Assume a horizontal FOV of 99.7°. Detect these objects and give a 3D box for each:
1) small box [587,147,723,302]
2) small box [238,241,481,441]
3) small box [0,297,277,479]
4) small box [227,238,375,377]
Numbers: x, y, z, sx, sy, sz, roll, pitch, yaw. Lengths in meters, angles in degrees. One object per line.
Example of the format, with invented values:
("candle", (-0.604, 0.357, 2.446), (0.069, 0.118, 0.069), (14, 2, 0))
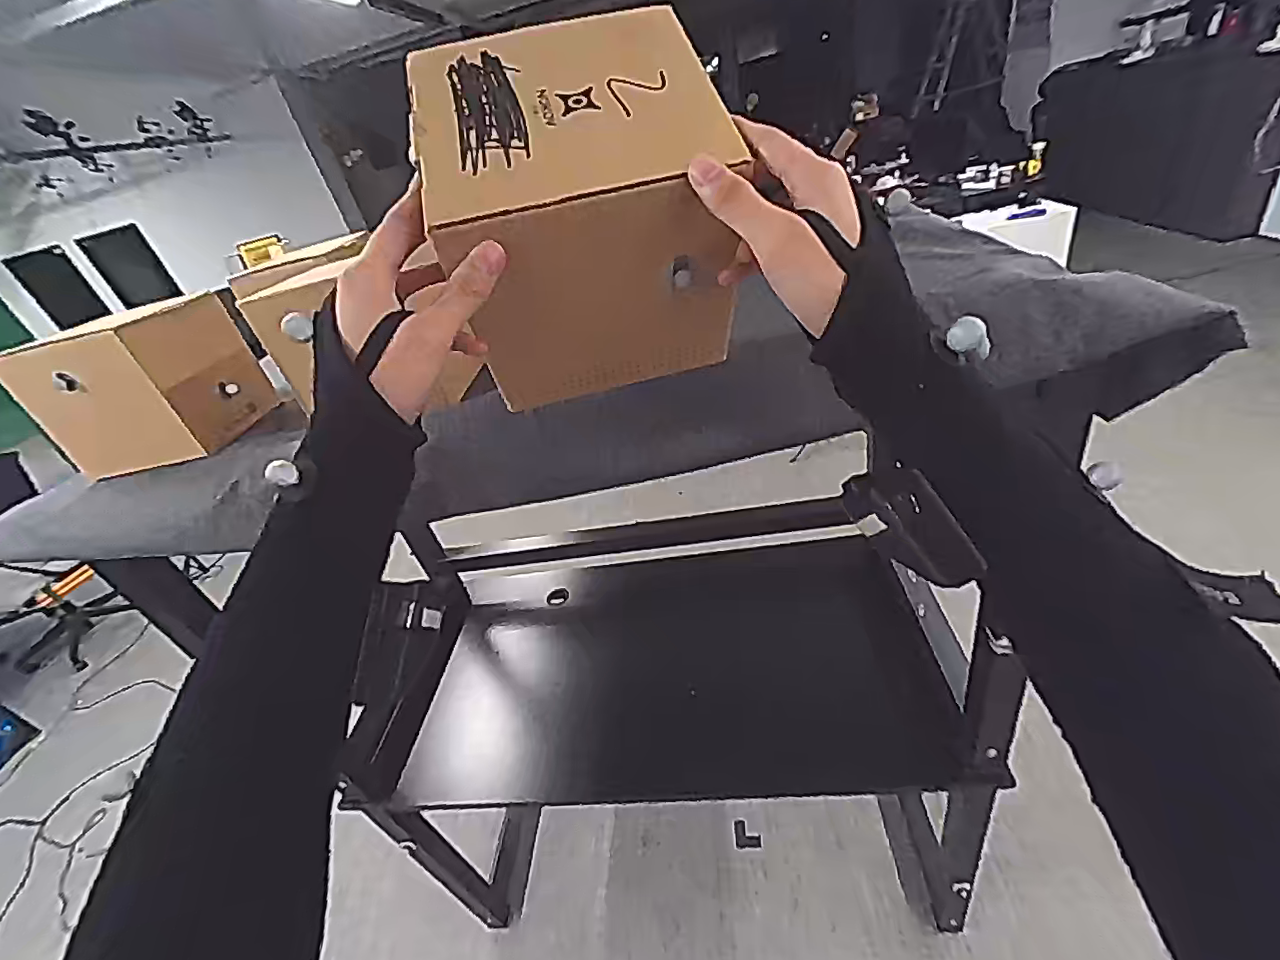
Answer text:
("small box", (0.030, -0.387, 0.831), (0.168, 0.176, 0.179), (-10, 34, 10))
("small box", (-0.310, -0.168, 0.647), (0.168, 0.176, 0.179), (-12, 32, 7))
("small box", (-0.633, -0.117, 0.703), (0.179, 0.176, 0.168), (-10, 33, 7))
("small box", (-0.532, -0.293, 0.925), (0.179, 0.176, 0.168), (-9, 34, 8))
